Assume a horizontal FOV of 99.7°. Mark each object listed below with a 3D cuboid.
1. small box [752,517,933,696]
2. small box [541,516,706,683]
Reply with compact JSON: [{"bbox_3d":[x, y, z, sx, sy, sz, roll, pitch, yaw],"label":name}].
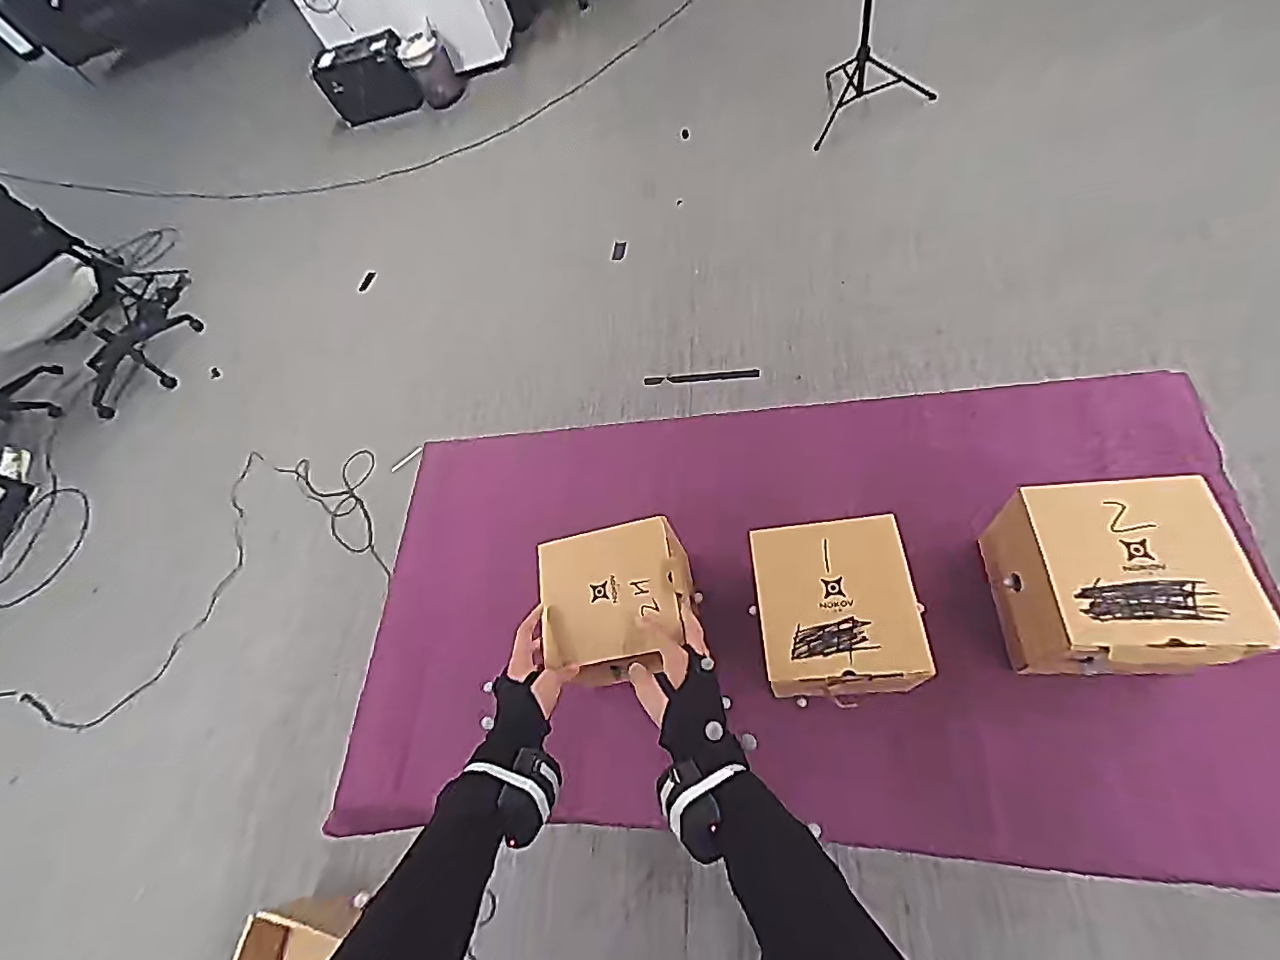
[{"bbox_3d":[0.234,0.164,0.660,0.168,0.176,0.179,-8,61,12],"label":"small box"},{"bbox_3d":[-0.020,0.170,0.731,0.179,0.176,0.168,-13,61,9],"label":"small box"}]
